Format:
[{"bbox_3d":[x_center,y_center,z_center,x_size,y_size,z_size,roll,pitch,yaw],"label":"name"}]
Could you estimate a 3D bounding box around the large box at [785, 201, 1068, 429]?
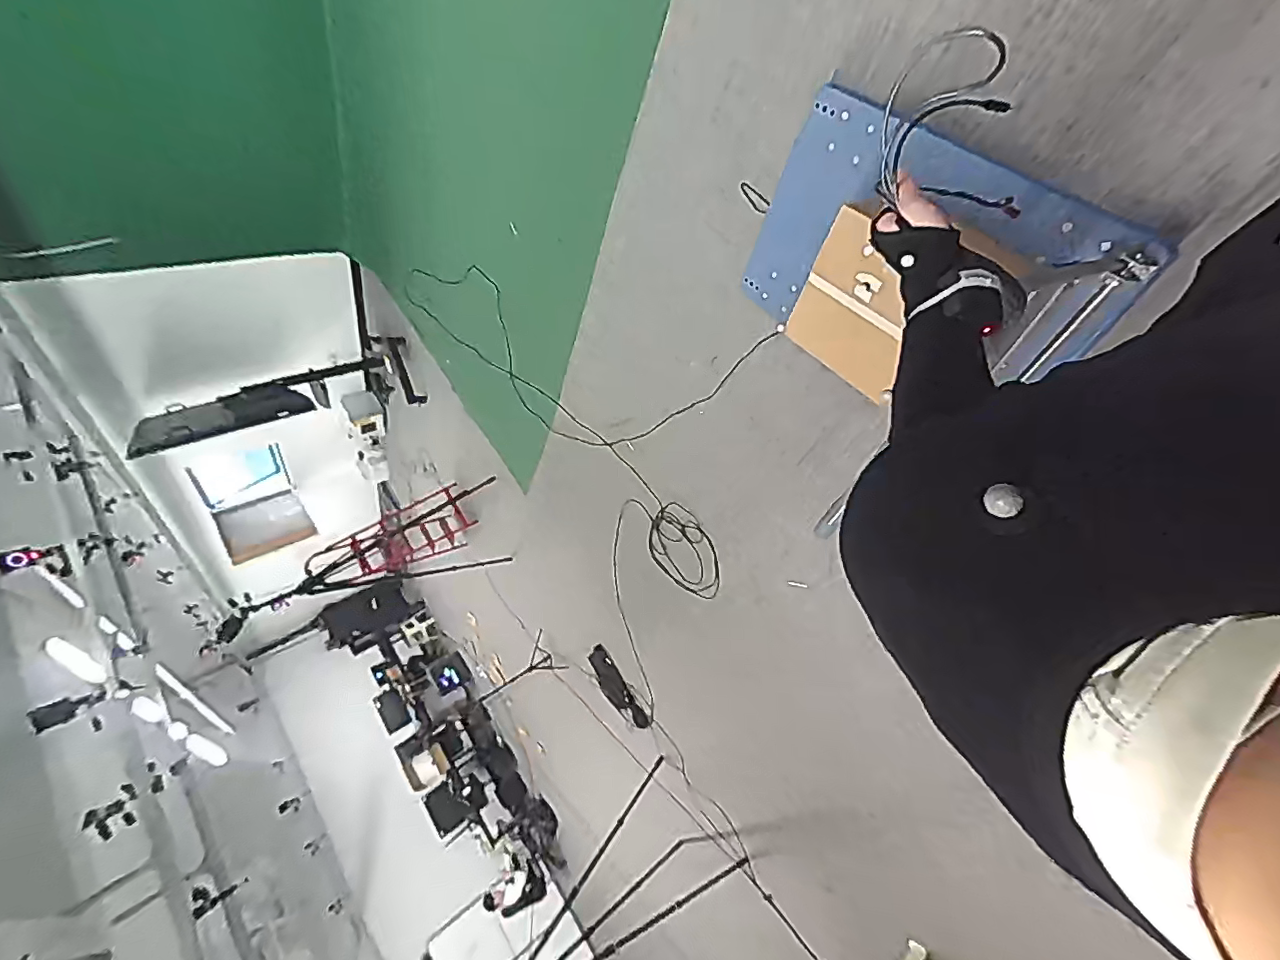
[{"bbox_3d":[0.623,-0.384,1.220,0.408,0.320,0.320,47,141,26],"label":"large box"}]
